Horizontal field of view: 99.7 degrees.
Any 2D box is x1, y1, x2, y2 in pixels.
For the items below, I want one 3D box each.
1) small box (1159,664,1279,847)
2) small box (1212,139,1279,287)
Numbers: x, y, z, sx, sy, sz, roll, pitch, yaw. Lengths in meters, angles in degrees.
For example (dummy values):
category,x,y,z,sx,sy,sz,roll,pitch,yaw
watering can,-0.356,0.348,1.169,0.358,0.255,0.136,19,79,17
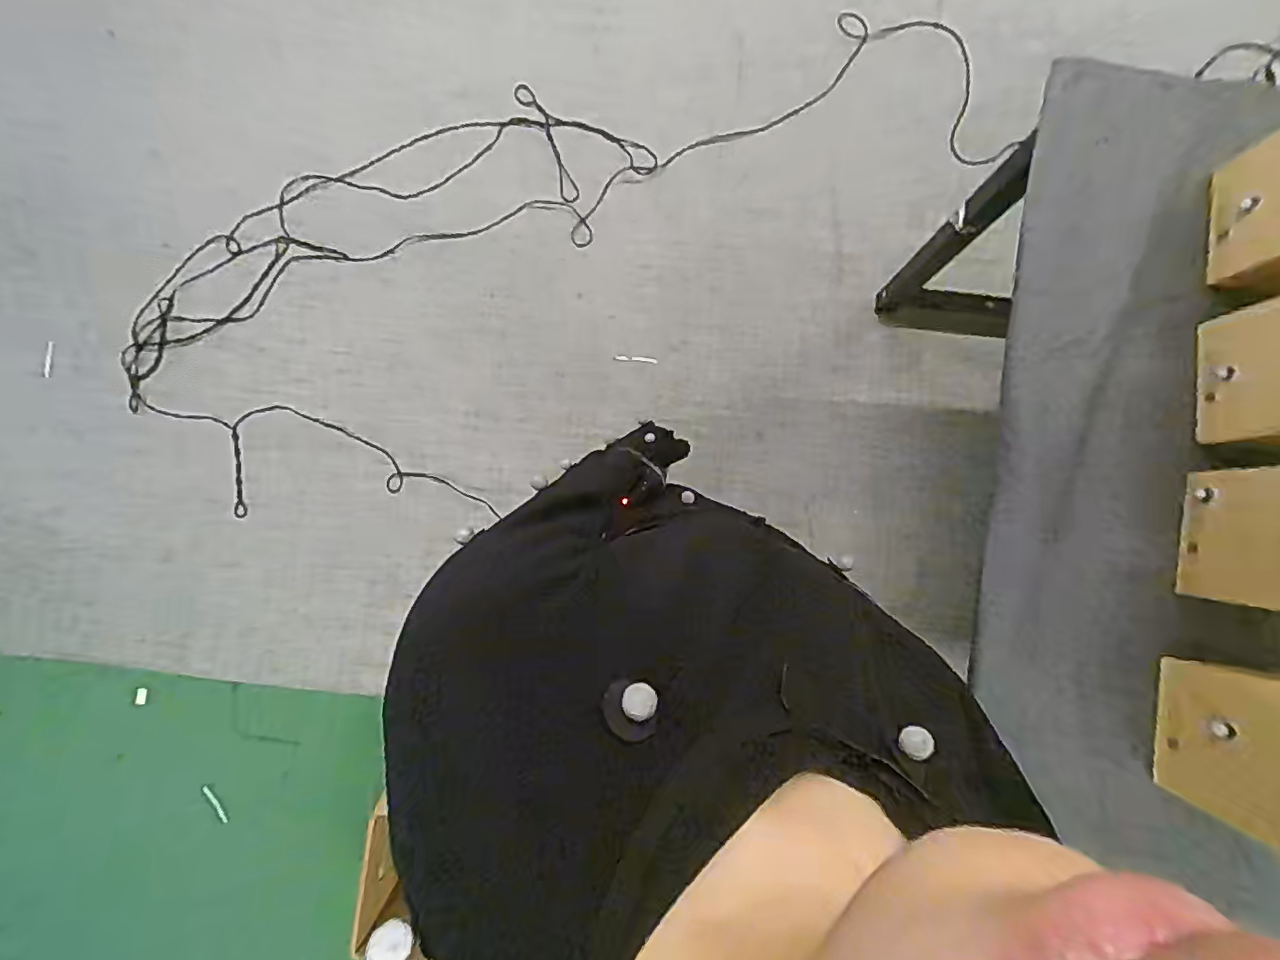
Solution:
category,x,y,z,sx,sy,sz,roll,pitch,yaw
small box,0.762,0.323,0.625,0.179,0.176,0.168,7,87,3
small box,0.867,-0.342,0.650,0.179,0.176,0.168,6,88,3
